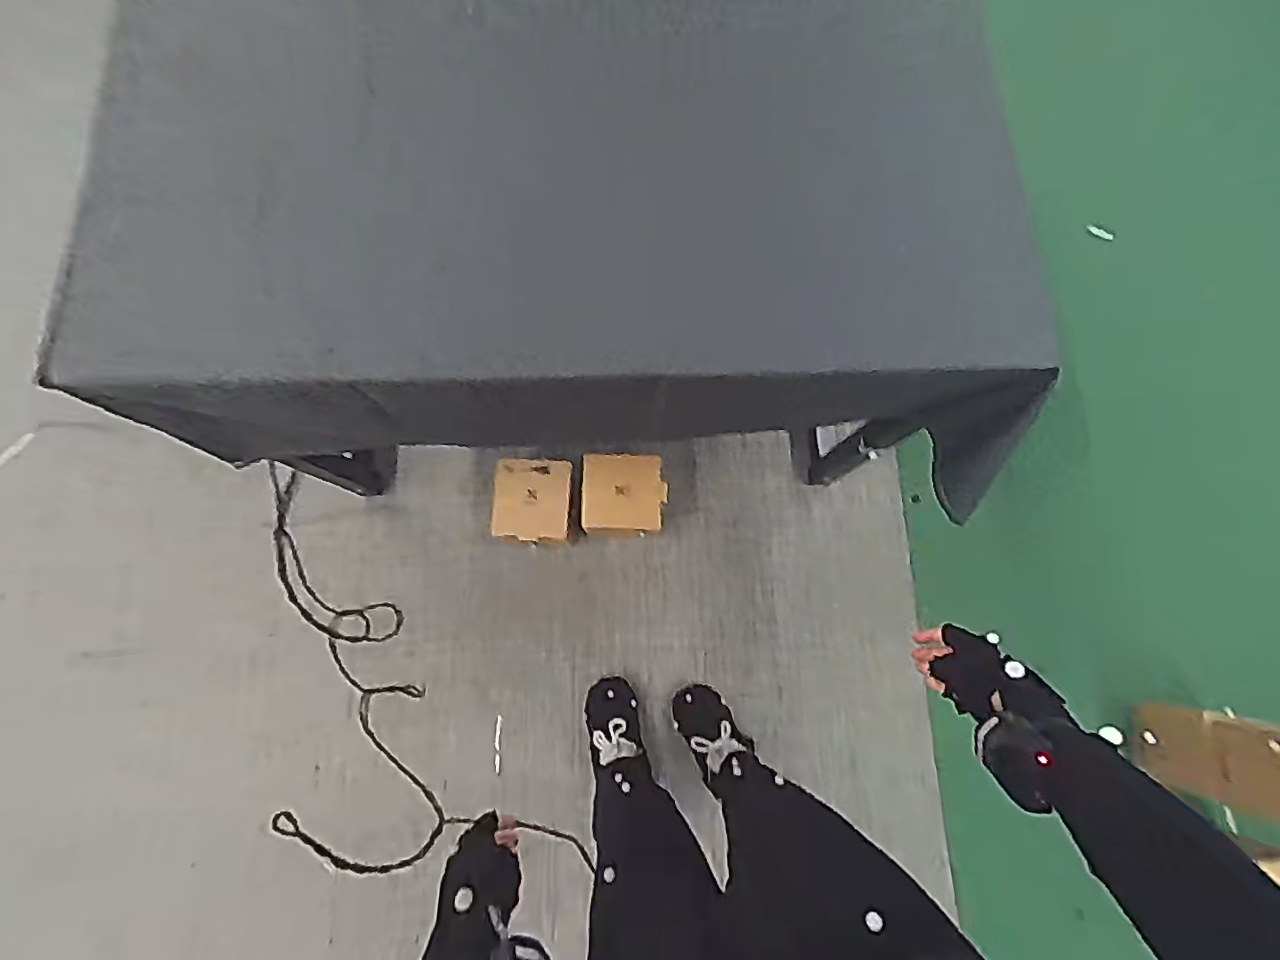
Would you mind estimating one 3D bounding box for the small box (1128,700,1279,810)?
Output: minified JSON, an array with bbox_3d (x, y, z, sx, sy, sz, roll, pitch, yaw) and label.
[{"bbox_3d":[1.222,0.588,1.176,0.179,0.176,0.168,9,76,2],"label":"small box"}]
